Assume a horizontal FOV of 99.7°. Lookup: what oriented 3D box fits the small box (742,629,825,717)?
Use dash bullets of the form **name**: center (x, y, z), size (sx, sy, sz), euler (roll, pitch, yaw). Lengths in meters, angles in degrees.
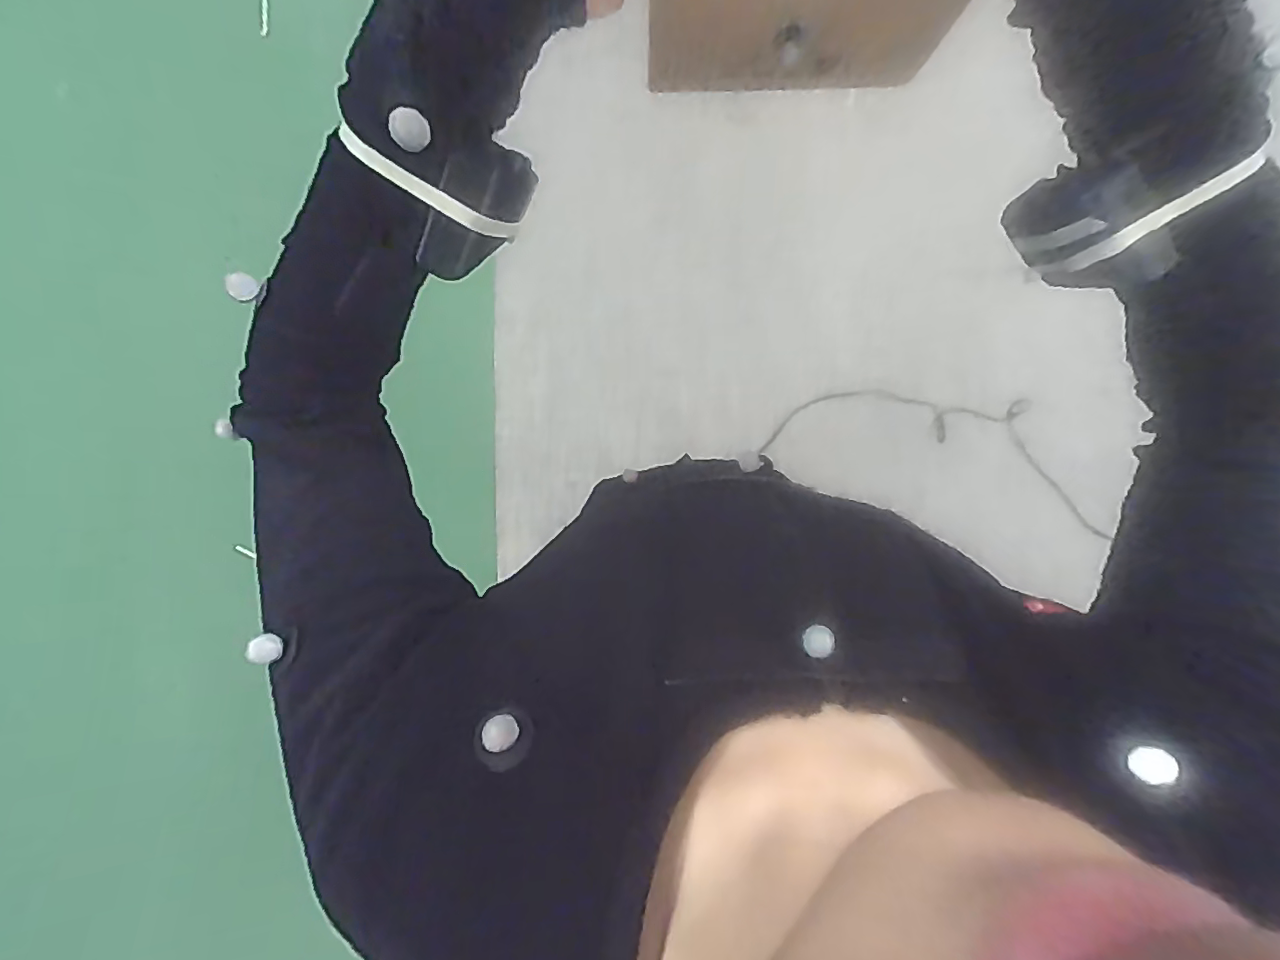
- **small box**: center (0.363, 0.488, 1.391), size (0.168, 0.176, 0.179), euler (-4, 88, 1)
